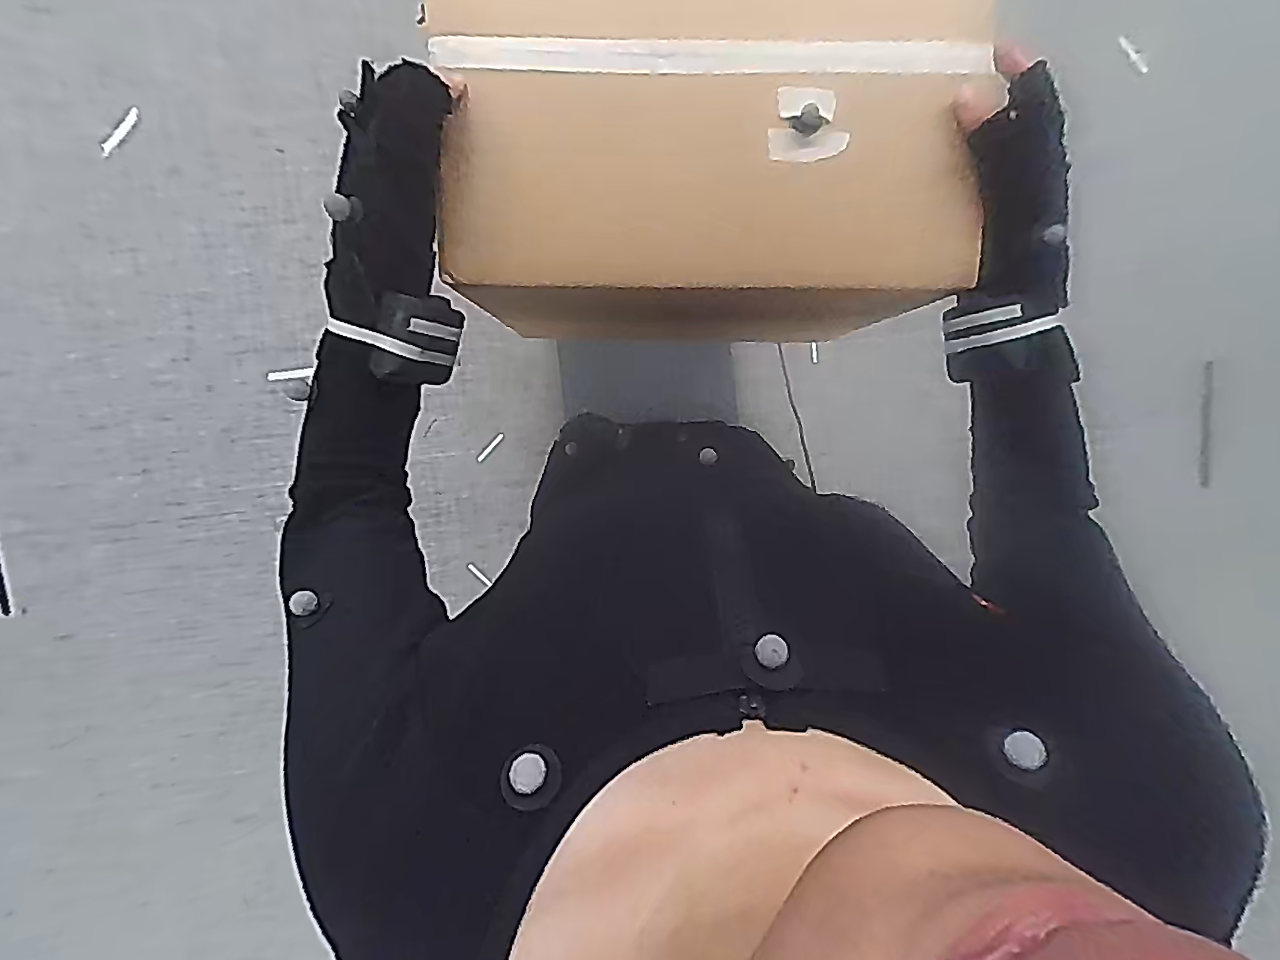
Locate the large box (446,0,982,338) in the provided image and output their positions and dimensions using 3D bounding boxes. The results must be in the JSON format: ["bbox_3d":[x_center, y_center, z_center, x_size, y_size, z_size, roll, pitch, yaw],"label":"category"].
[{"bbox_3d":[0.050,-0.327,0.551,0.408,0.320,0.320,0,97,-2],"label":"large box"}]
